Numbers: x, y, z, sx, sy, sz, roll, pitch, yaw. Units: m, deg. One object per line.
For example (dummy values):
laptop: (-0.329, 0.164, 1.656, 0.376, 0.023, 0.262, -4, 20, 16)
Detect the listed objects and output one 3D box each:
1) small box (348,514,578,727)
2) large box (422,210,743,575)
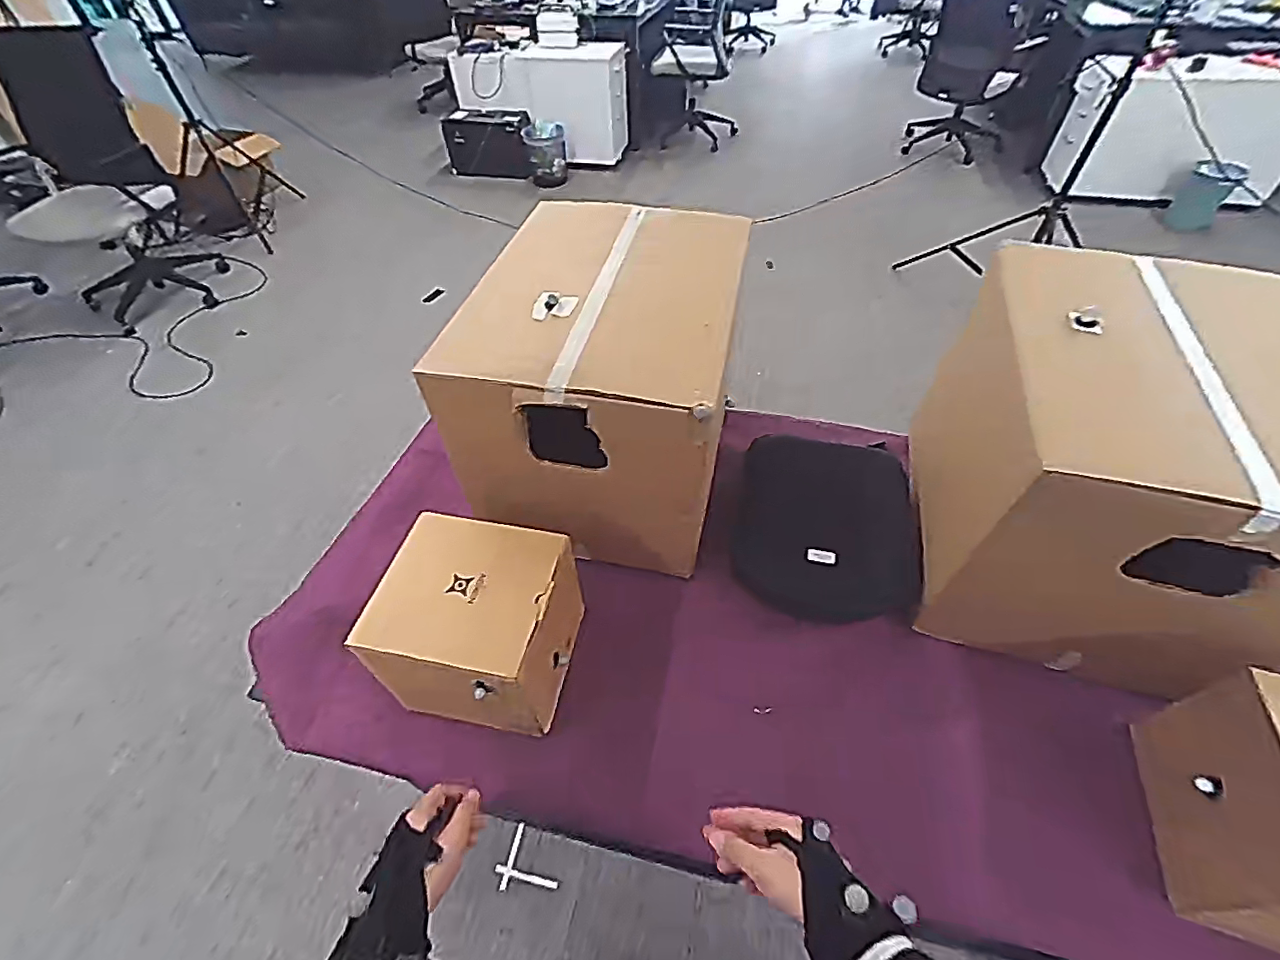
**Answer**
small box: (-0.180, 0.162, 0.615, 0.179, 0.176, 0.168, 7, 49, 7)
large box: (-0.039, -0.131, 0.773, 0.320, 0.320, 0.408, 8, 52, 9)
